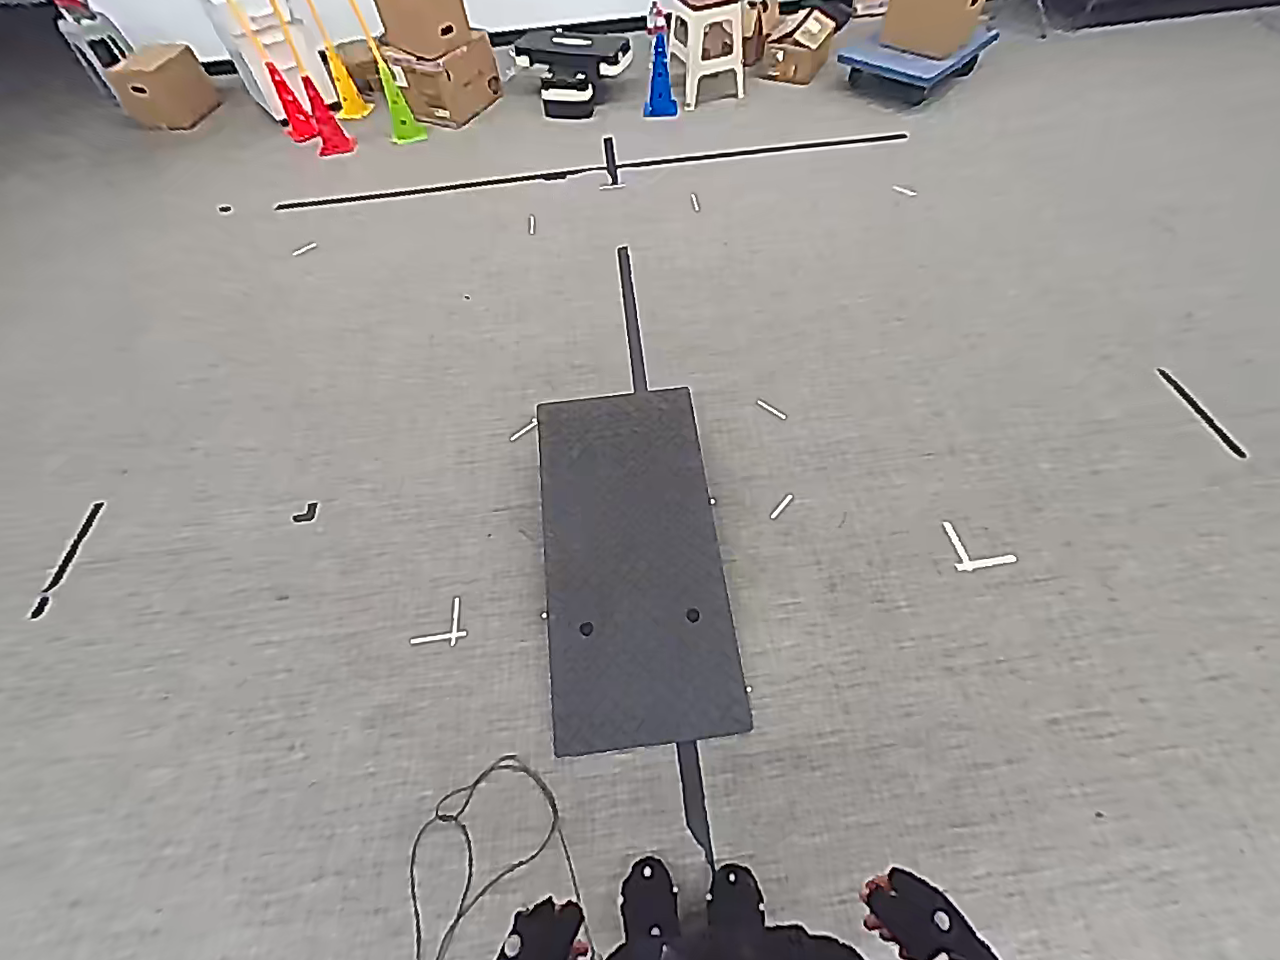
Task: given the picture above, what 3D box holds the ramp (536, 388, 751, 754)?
[{"bbox_3d":[-0.024,0.189,1.526,0.509,0.206,0.991,-8,56,-3],"label":"ramp"}]
